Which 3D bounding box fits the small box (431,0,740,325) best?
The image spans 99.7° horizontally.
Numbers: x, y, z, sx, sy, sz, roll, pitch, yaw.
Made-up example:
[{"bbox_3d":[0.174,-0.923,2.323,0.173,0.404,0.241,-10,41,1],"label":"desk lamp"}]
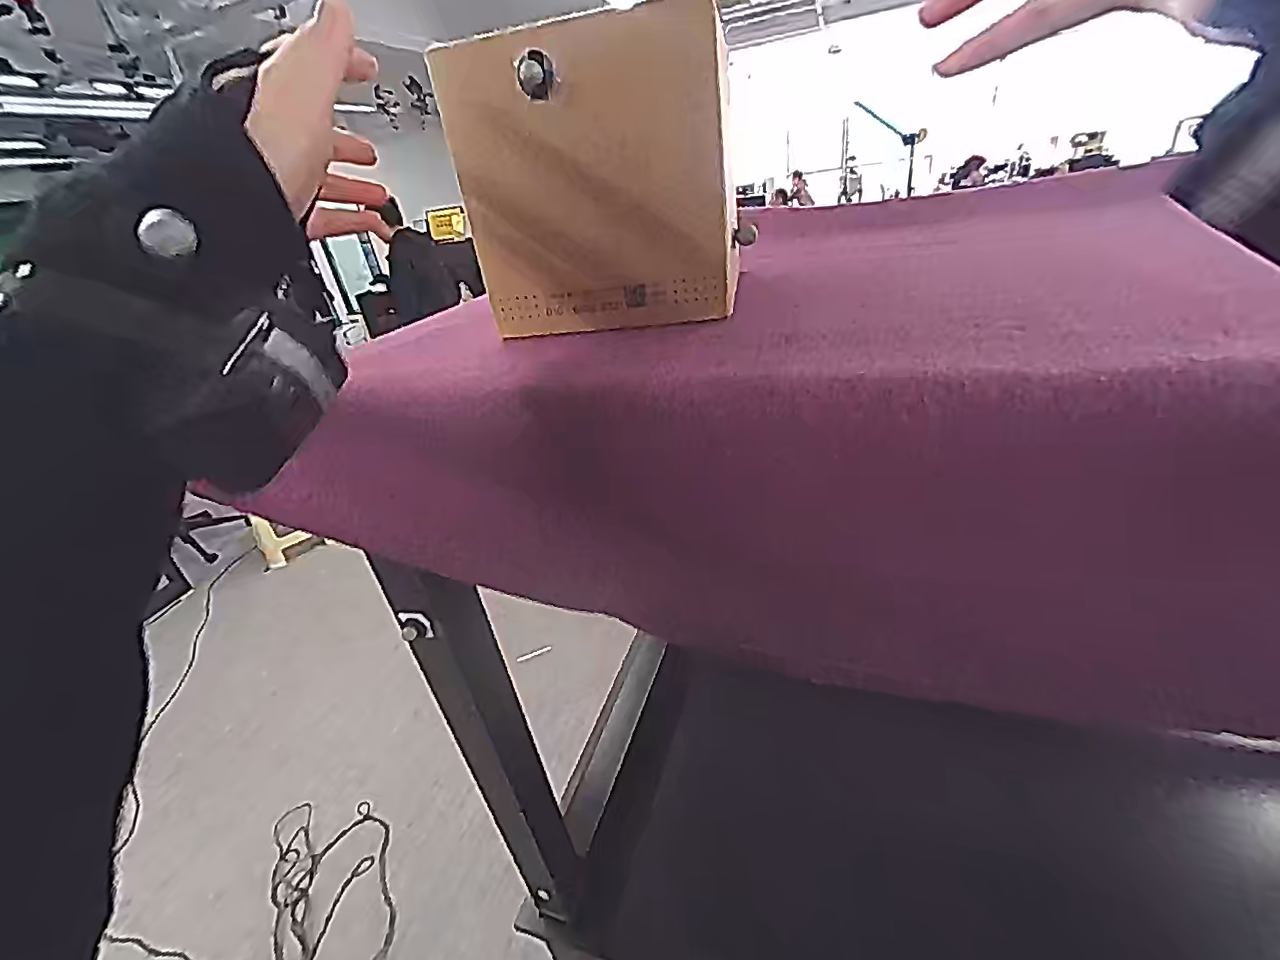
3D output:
[{"bbox_3d":[-0.016,-0.218,0.395,0.168,0.176,0.179,-2,29,13],"label":"small box"}]
